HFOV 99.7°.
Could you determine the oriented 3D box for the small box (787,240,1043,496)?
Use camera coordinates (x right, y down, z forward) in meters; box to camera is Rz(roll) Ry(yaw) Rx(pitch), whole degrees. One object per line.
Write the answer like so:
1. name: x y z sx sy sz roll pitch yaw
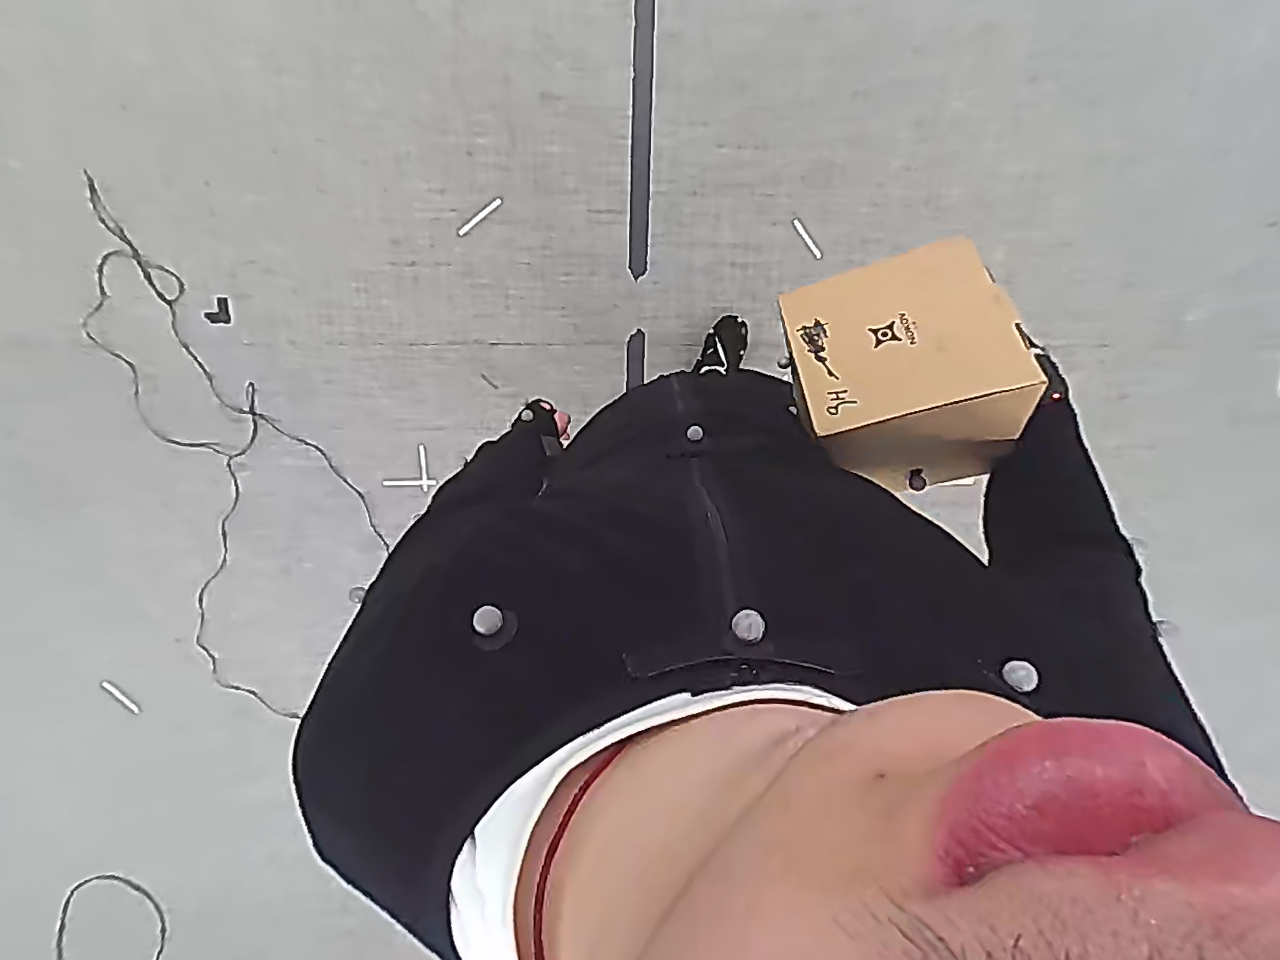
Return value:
1. small box: 0.259 -0.100 0.554 0.179 0.176 0.168 -13 61 15
